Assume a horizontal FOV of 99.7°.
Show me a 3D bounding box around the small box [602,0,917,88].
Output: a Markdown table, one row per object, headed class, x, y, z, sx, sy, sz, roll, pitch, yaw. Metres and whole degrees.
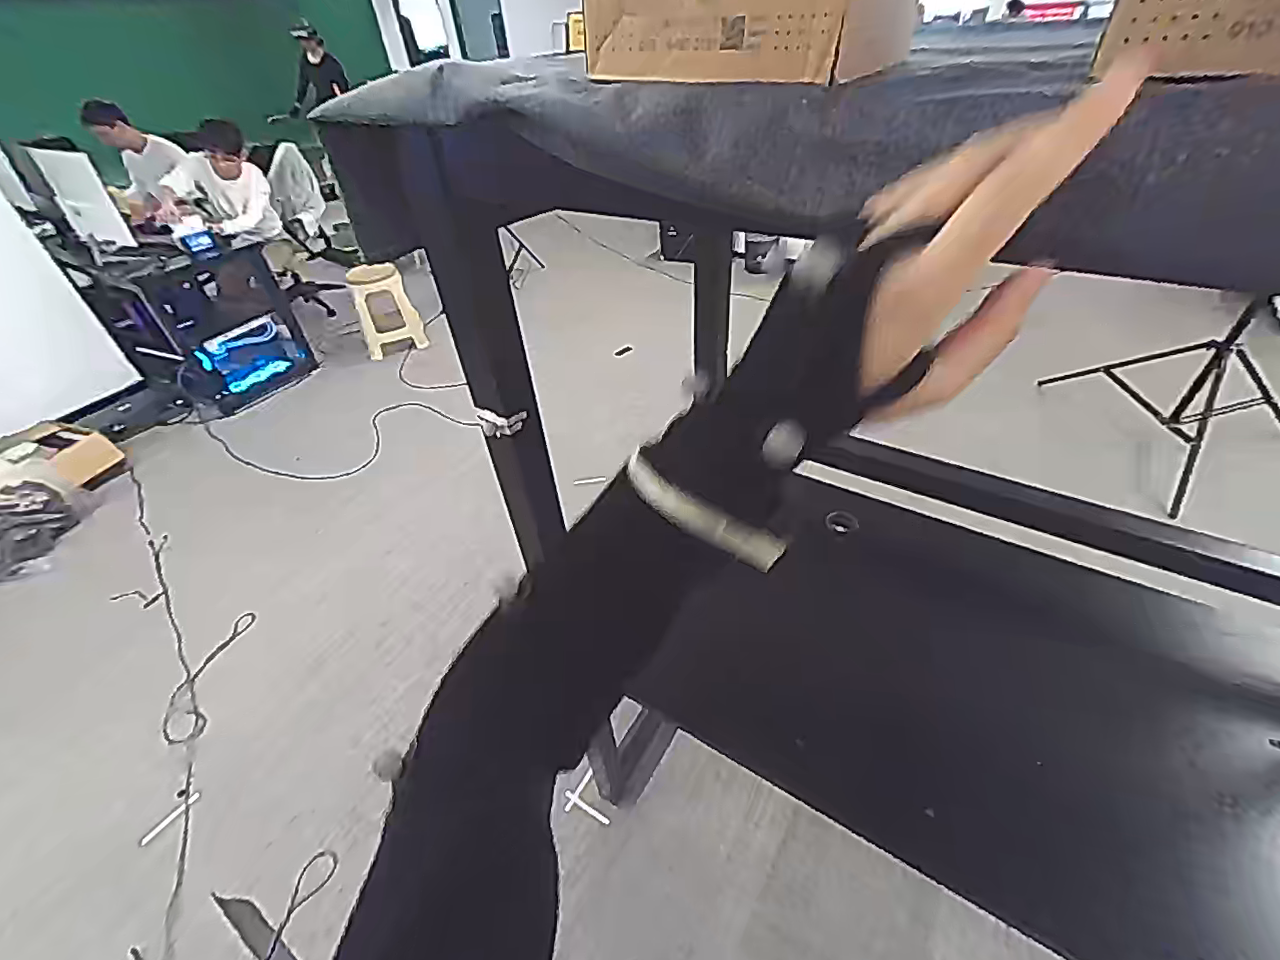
| class | x | y | z | sx | sy | sz | roll | pitch | yaw |
| --- | --- | --- | --- | --- | --- | --- | --- | --- | --- |
| small box | 0.081 | -0.349 | 0.323 | 0.168 | 0.176 | 0.179 | 21 | 46 | 25 |
